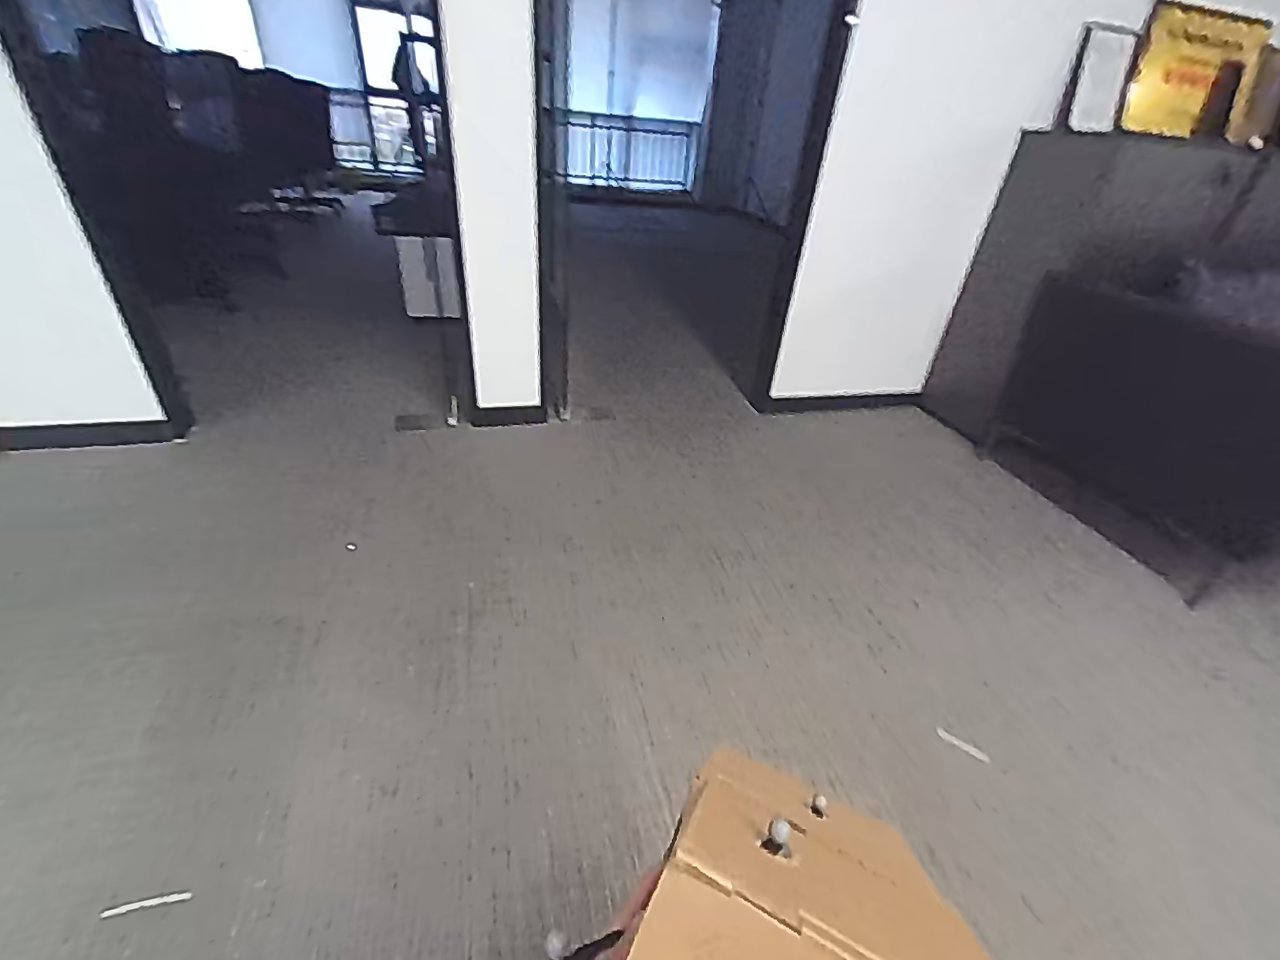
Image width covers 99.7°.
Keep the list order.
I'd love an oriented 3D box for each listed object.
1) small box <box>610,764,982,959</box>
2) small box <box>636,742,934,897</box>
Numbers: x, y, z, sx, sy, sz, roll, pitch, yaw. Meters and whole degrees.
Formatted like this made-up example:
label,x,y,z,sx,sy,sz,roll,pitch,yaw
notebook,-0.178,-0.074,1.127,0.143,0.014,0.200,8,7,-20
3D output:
label,x,y,z,sx,sy,sz,roll,pitch,yaw
small box,0.067,0.283,0.284,0.168,0.176,0.179,21,80,20
small box,0.102,0.332,0.436,0.179,0.176,0.168,19,78,18
